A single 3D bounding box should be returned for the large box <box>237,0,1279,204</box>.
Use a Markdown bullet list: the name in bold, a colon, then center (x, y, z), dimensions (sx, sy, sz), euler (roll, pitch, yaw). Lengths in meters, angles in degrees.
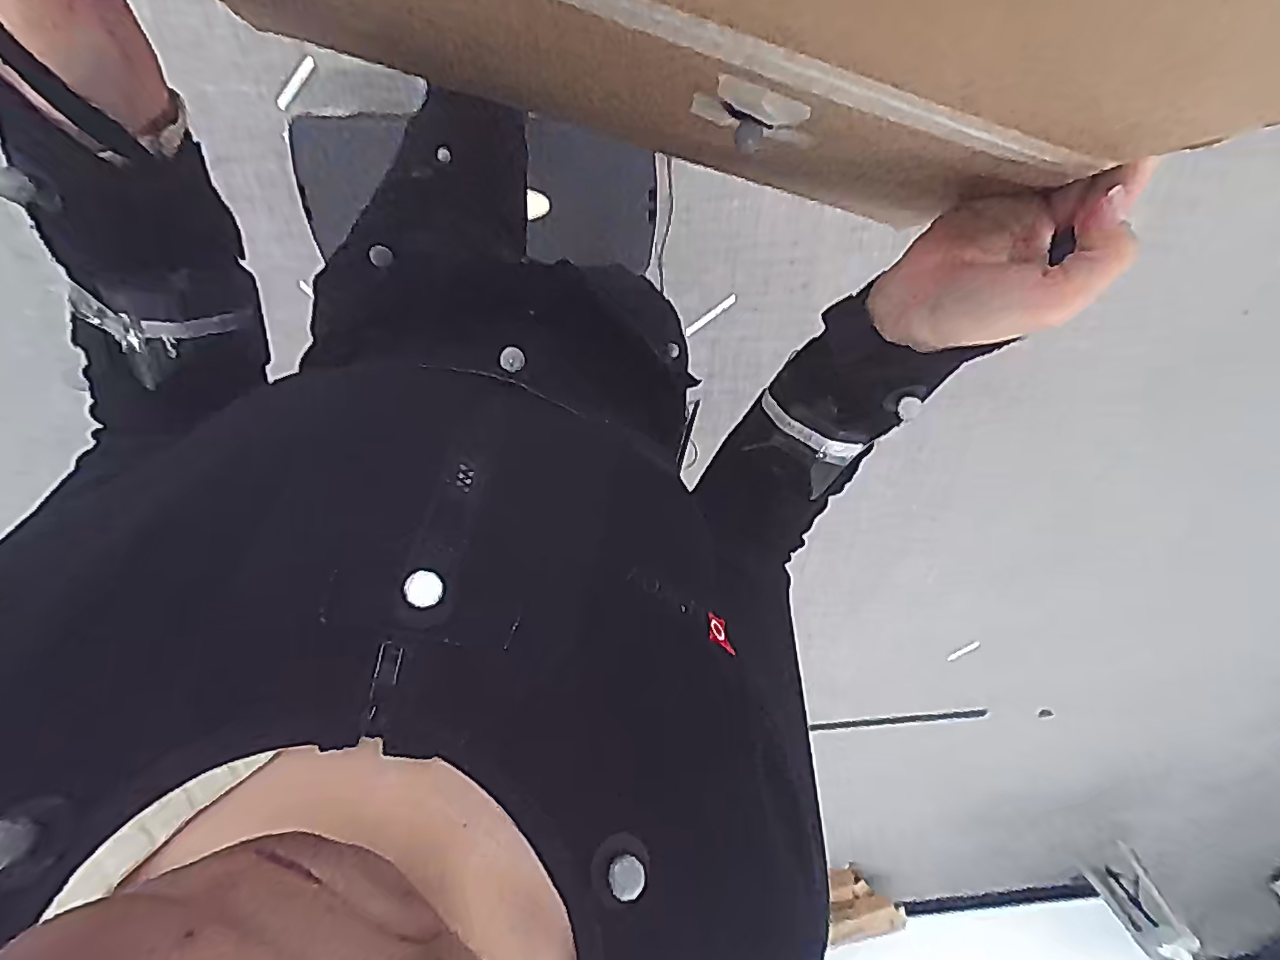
- **large box**: center (0.024, -0.321, 0.148), dimensions (0.408, 0.320, 0.320), euler (11, 106, -8)
